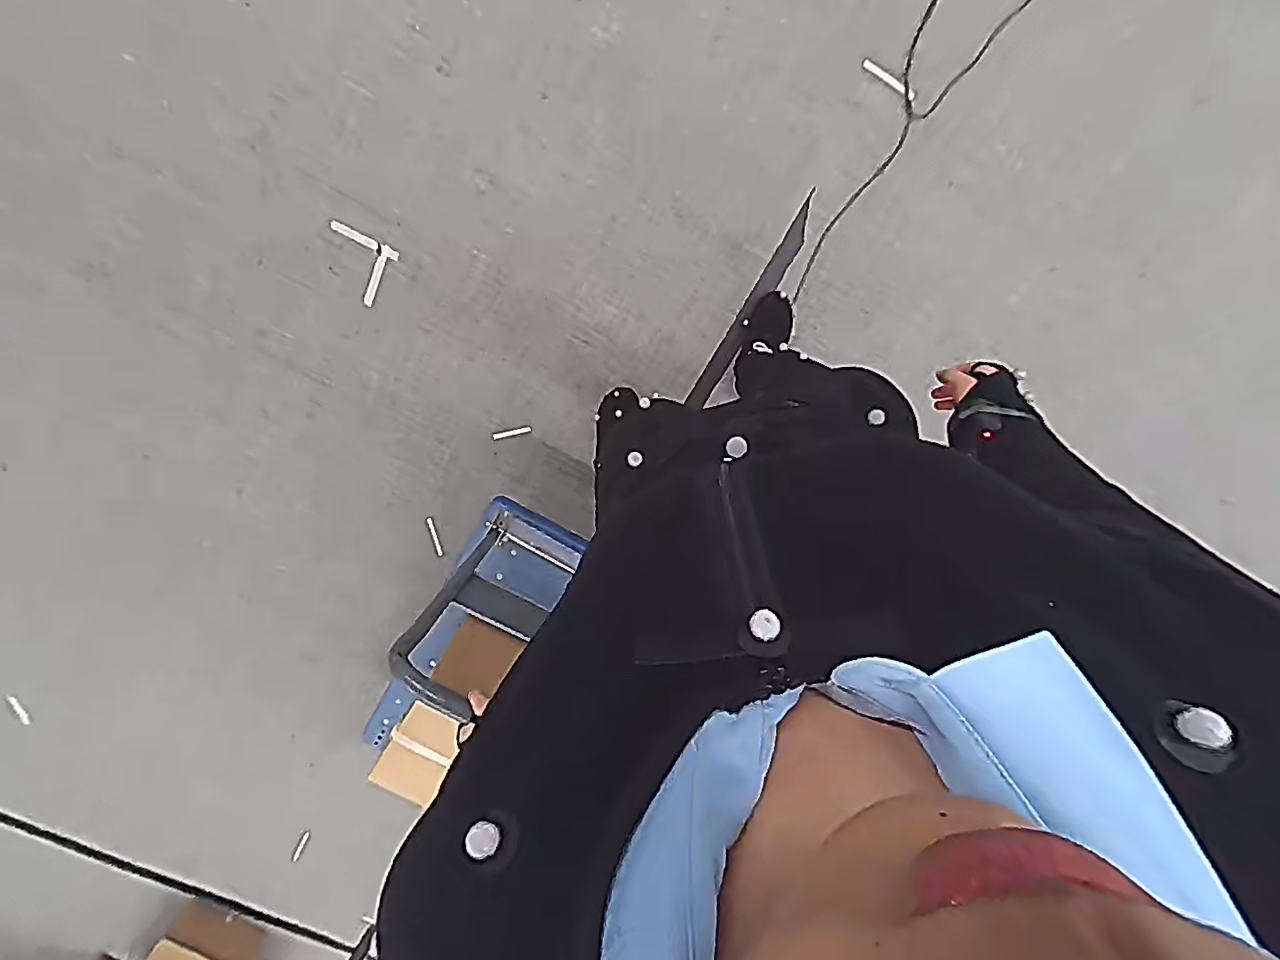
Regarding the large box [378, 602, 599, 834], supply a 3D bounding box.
[{"bbox_3d":[-0.356,0.583,1.367,0.408,0.320,0.320,32,105,-9],"label":"large box"}]
